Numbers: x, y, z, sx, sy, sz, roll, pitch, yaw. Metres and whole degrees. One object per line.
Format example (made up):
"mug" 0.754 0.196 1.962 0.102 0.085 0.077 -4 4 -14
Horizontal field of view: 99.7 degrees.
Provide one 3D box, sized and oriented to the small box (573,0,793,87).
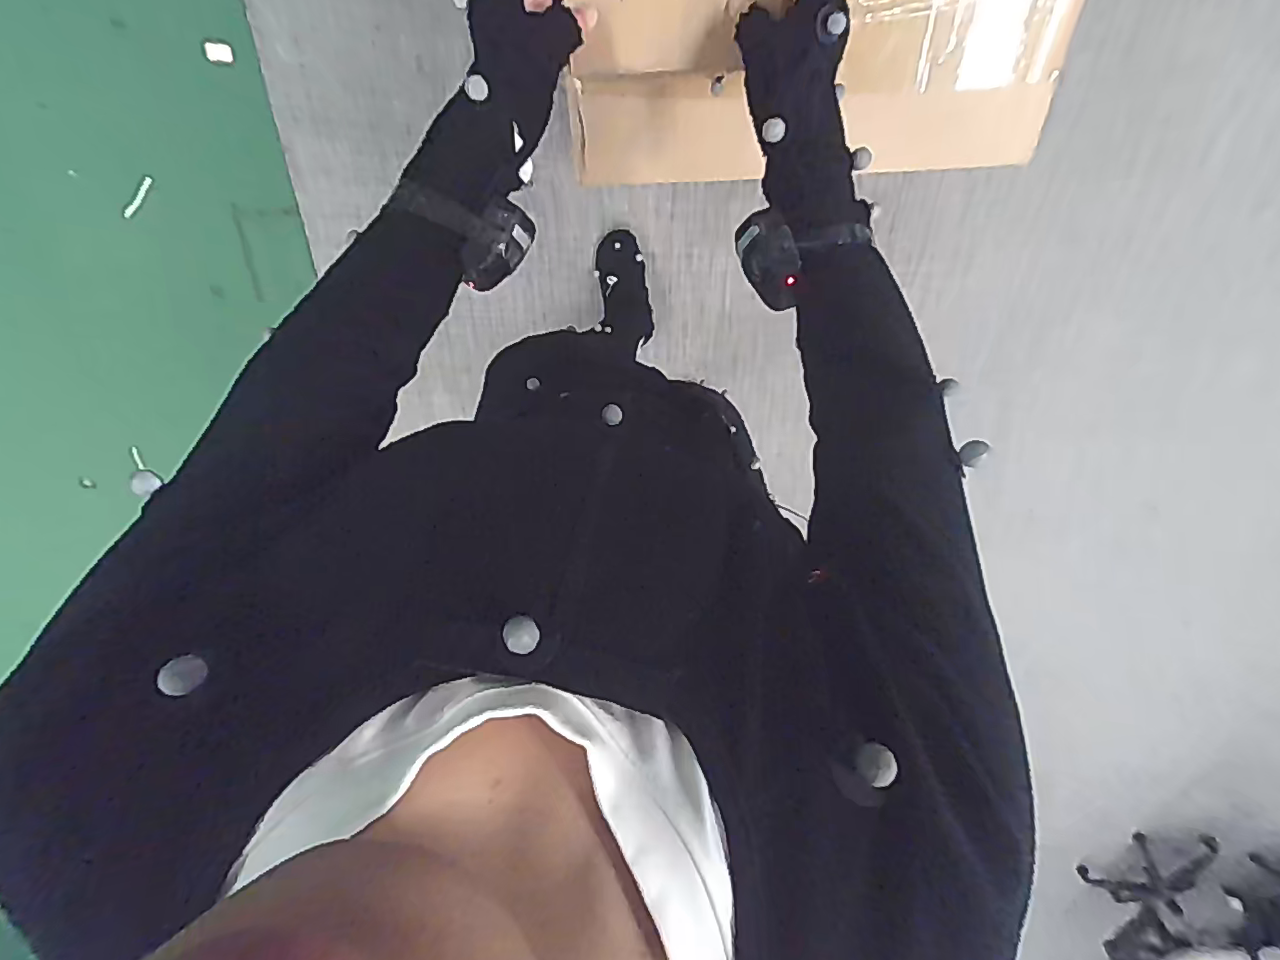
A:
"small box" 0.033 -0.452 0.472 0.179 0.176 0.168 -2 123 3
